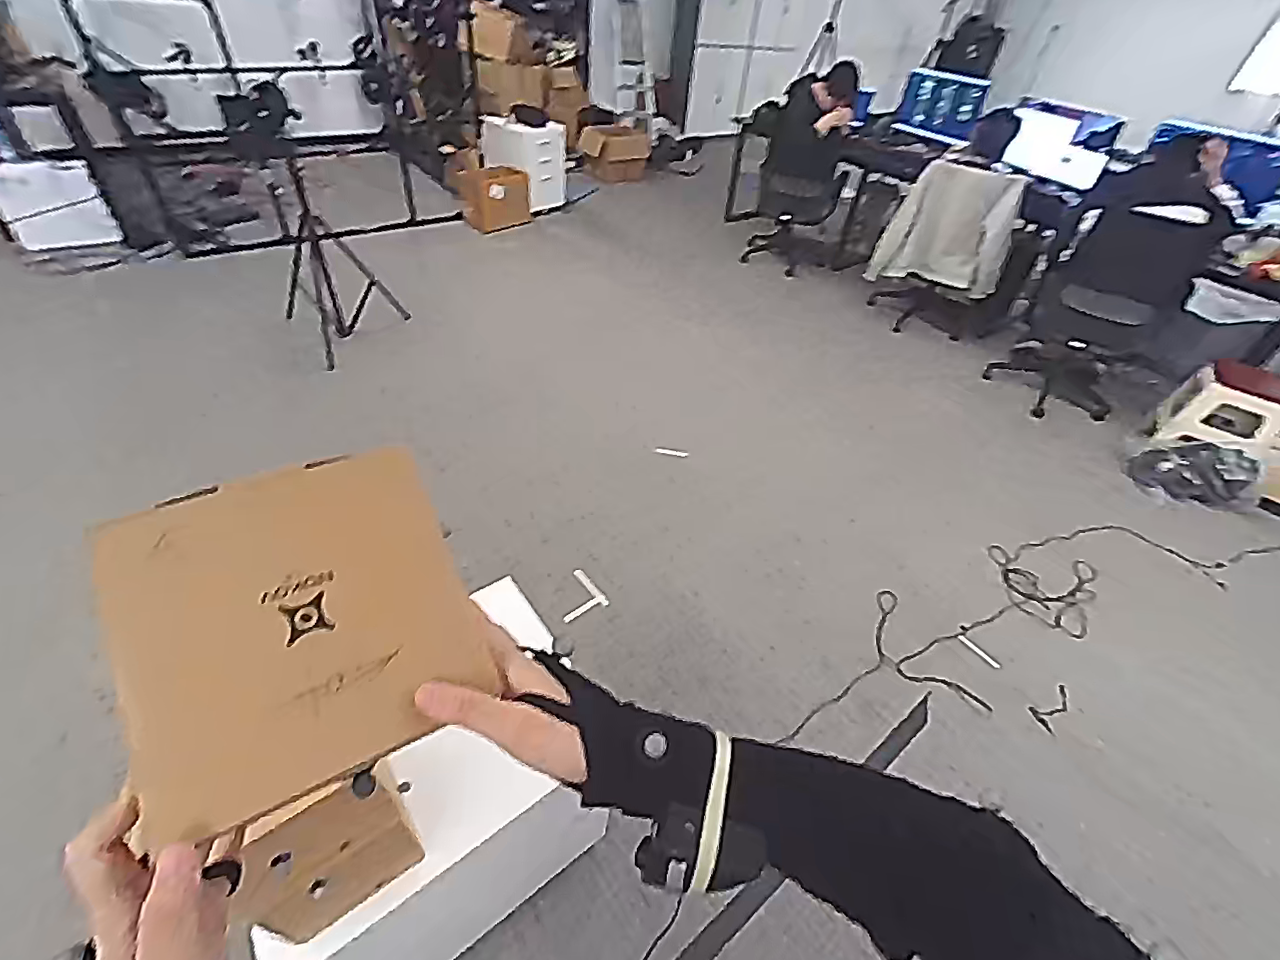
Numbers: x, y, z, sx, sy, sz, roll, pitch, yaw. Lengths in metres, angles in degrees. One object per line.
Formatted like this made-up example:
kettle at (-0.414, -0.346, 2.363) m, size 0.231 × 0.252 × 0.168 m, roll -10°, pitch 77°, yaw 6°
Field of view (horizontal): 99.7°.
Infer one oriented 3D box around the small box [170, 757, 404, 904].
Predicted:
small box at (-0.381, 0.318, 0.590) m, size 0.168 × 0.176 × 0.179 m, roll -26°, pitch 51°, yaw -30°

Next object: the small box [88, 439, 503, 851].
small box at (-0.208, 0.102, 0.363) m, size 0.168 × 0.176 × 0.179 m, roll -19°, pitch 74°, yaw -27°

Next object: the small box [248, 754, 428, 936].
small box at (-0.397, 0.436, 0.702) m, size 0.168 × 0.176 × 0.179 m, roll -24°, pitch 50°, yaw -29°
